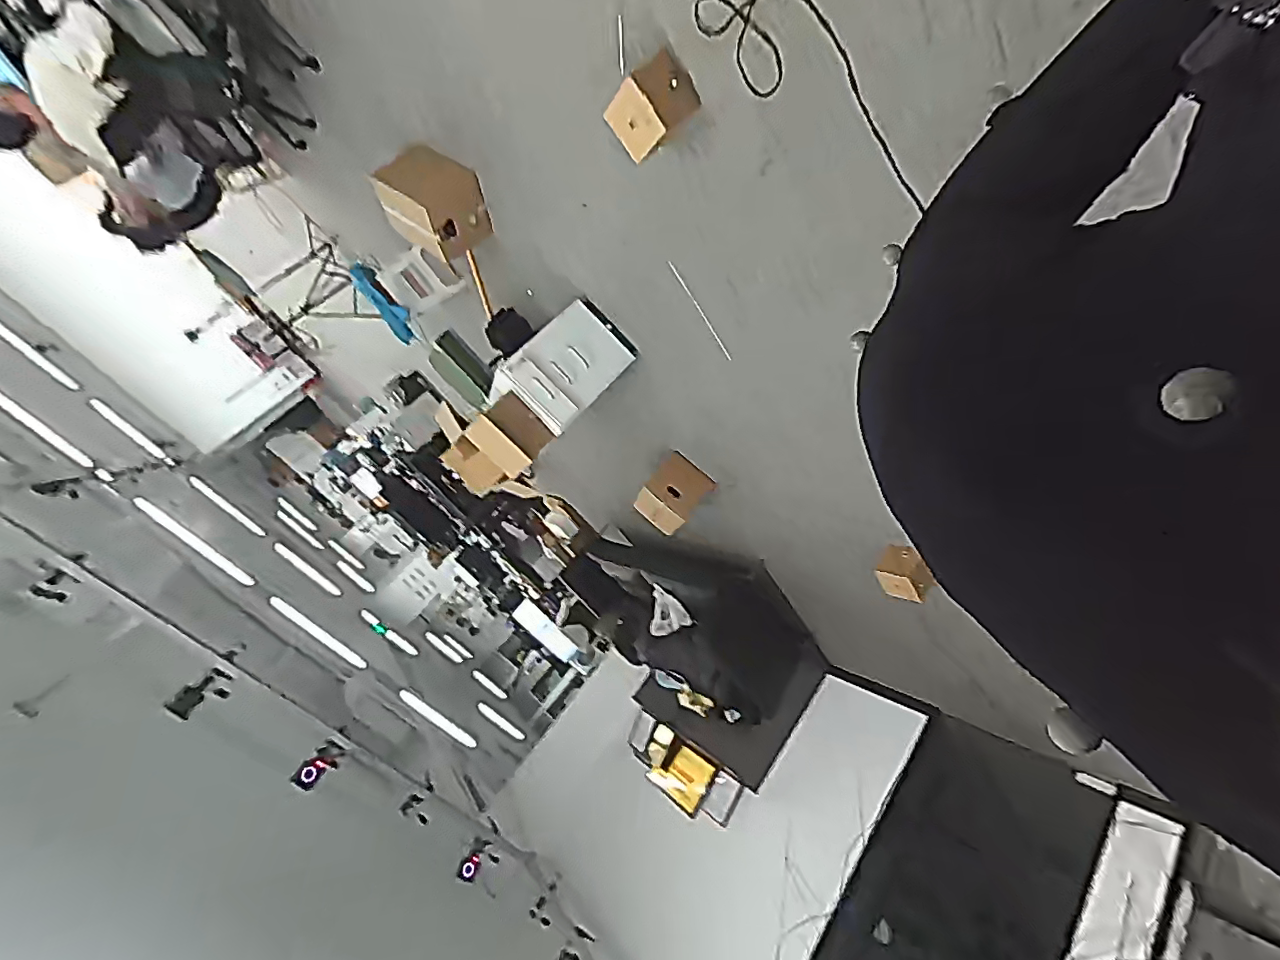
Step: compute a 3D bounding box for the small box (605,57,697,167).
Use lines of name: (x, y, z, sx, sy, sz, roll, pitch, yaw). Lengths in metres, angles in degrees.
small box: (0.034, -1.068, 1.574, 0.168, 0.176, 0.179, 48, 157, -17)

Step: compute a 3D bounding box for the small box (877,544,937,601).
small box: (1.227, 0.419, 2.476, 0.168, 0.176, 0.179, 6, 138, 55)
